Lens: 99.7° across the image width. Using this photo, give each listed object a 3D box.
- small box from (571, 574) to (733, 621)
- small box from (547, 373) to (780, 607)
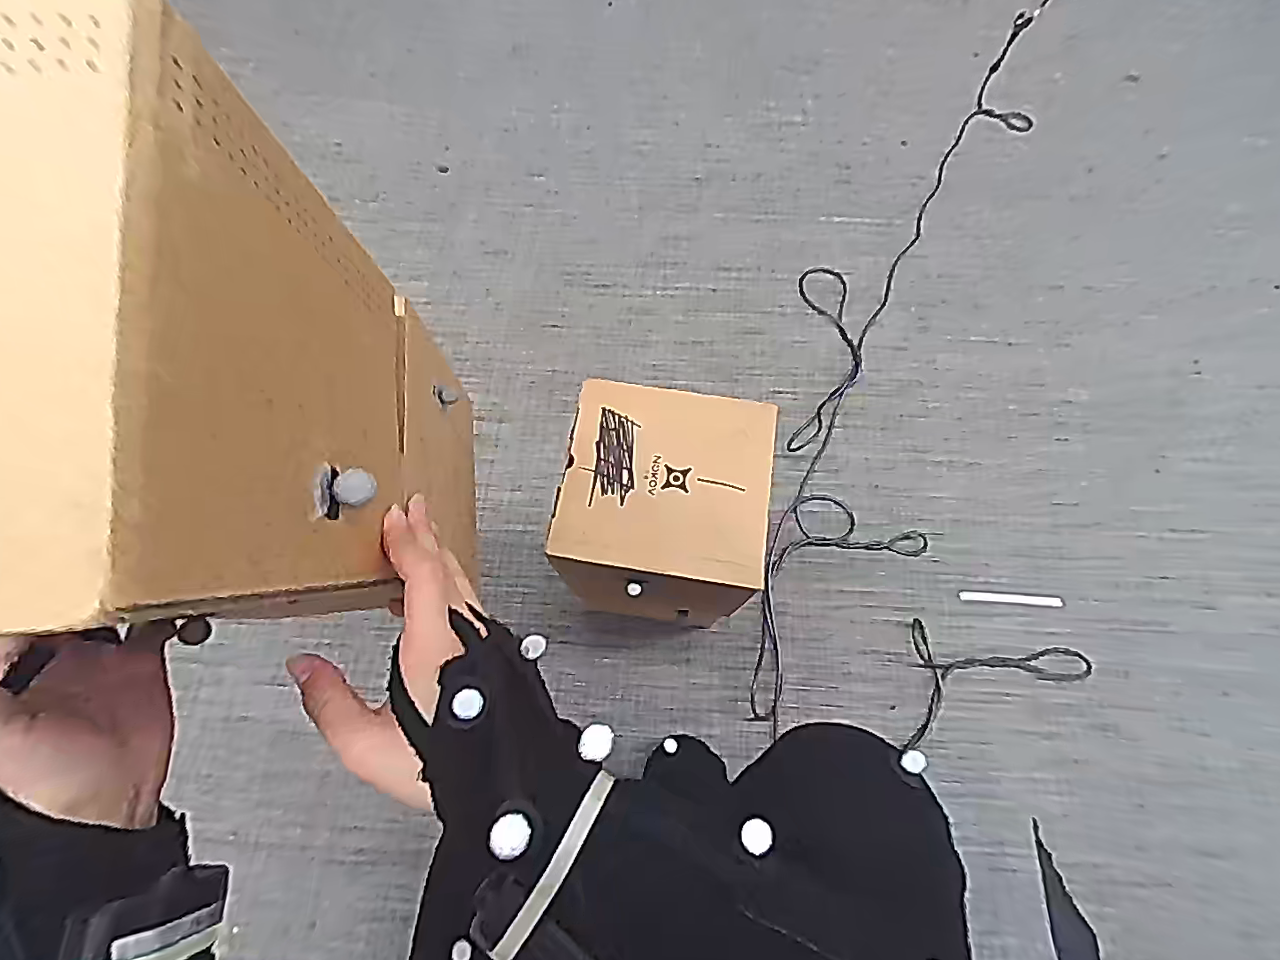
[{"bbox_3d":[0.023,0.076,0.676,0.179,0.176,0.168,8,68,4],"label":"small box"},{"bbox_3d":[0.024,0.020,0.522,0.179,0.176,0.168,9,69,3],"label":"small box"}]
